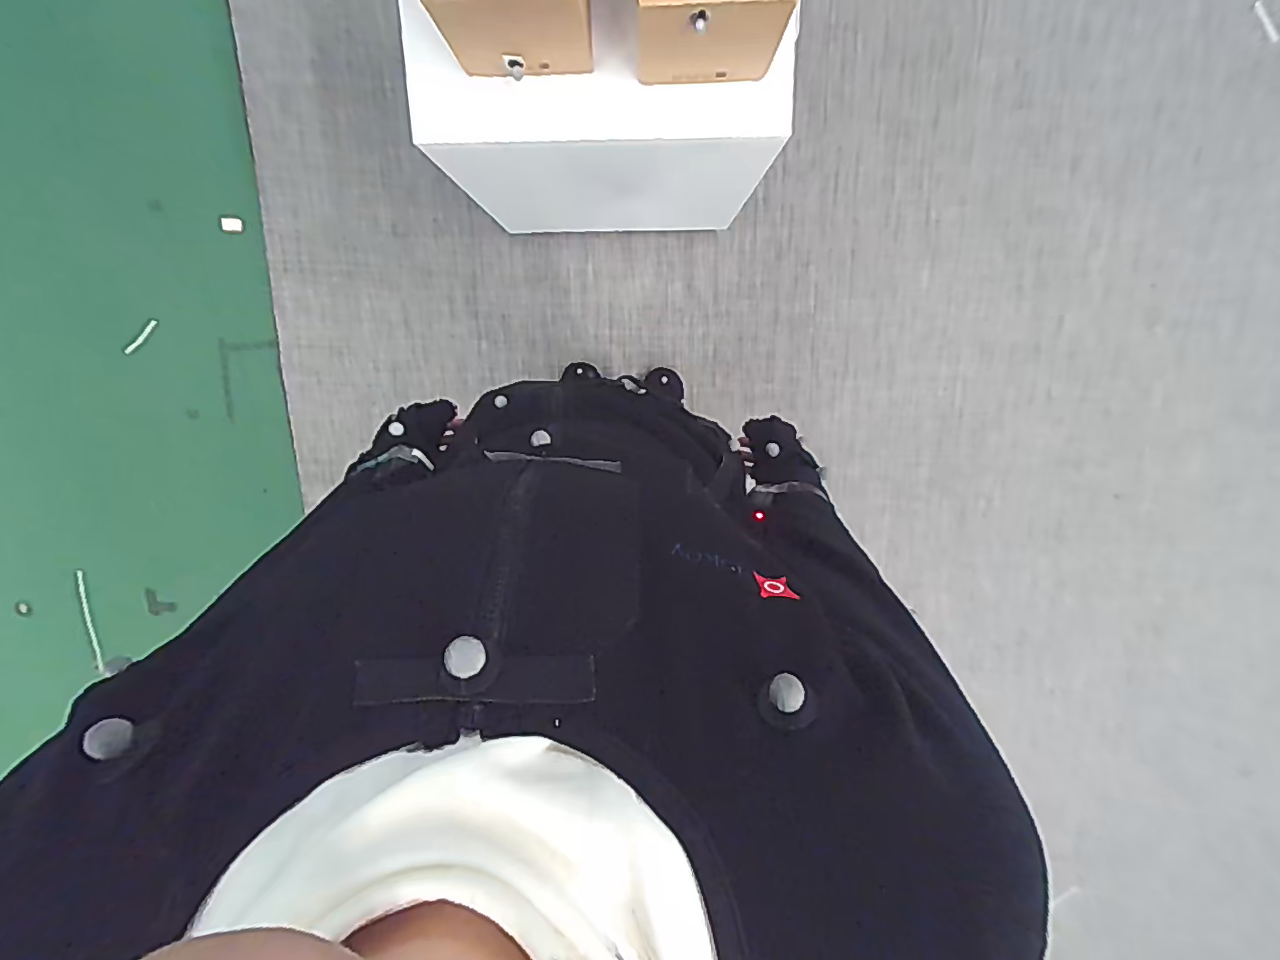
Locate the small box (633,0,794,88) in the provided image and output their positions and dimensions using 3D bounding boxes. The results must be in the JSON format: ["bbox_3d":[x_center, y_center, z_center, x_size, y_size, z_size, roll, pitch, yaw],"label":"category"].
[{"bbox_3d":[0.075,-0.587,0.614,0.168,0.176,0.179,-1,101,0],"label":"small box"}]

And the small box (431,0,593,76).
[{"bbox_3d":[-0.144,-0.592,0.601,0.168,0.176,0.179,-3,104,1],"label":"small box"}]
